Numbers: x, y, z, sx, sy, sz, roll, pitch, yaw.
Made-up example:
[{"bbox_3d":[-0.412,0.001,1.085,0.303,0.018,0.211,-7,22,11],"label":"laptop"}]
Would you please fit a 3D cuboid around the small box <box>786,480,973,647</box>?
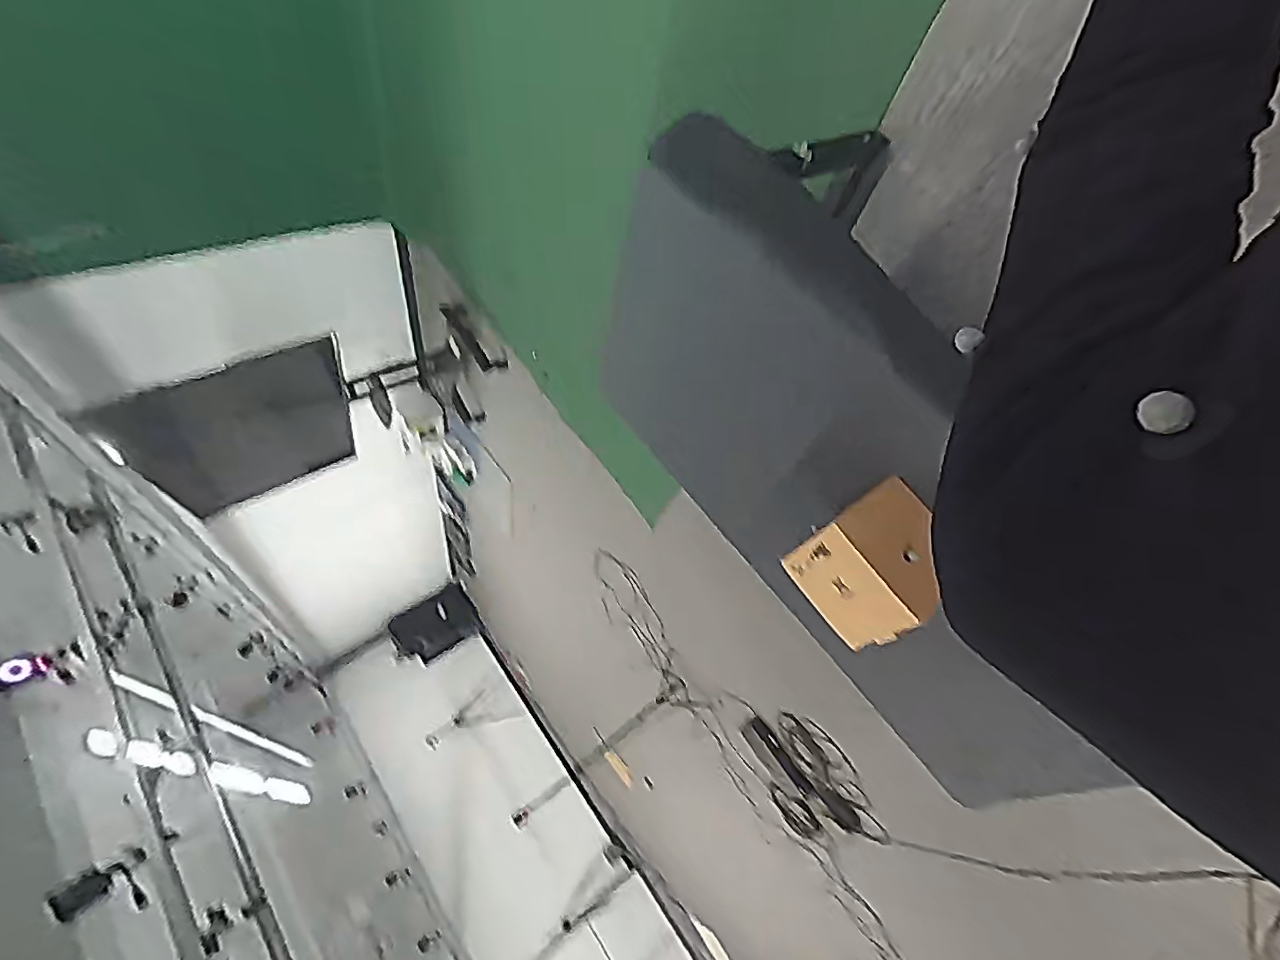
[{"bbox_3d":[0.378,0.131,0.861,0.179,0.176,0.168,52,151,16],"label":"small box"}]
